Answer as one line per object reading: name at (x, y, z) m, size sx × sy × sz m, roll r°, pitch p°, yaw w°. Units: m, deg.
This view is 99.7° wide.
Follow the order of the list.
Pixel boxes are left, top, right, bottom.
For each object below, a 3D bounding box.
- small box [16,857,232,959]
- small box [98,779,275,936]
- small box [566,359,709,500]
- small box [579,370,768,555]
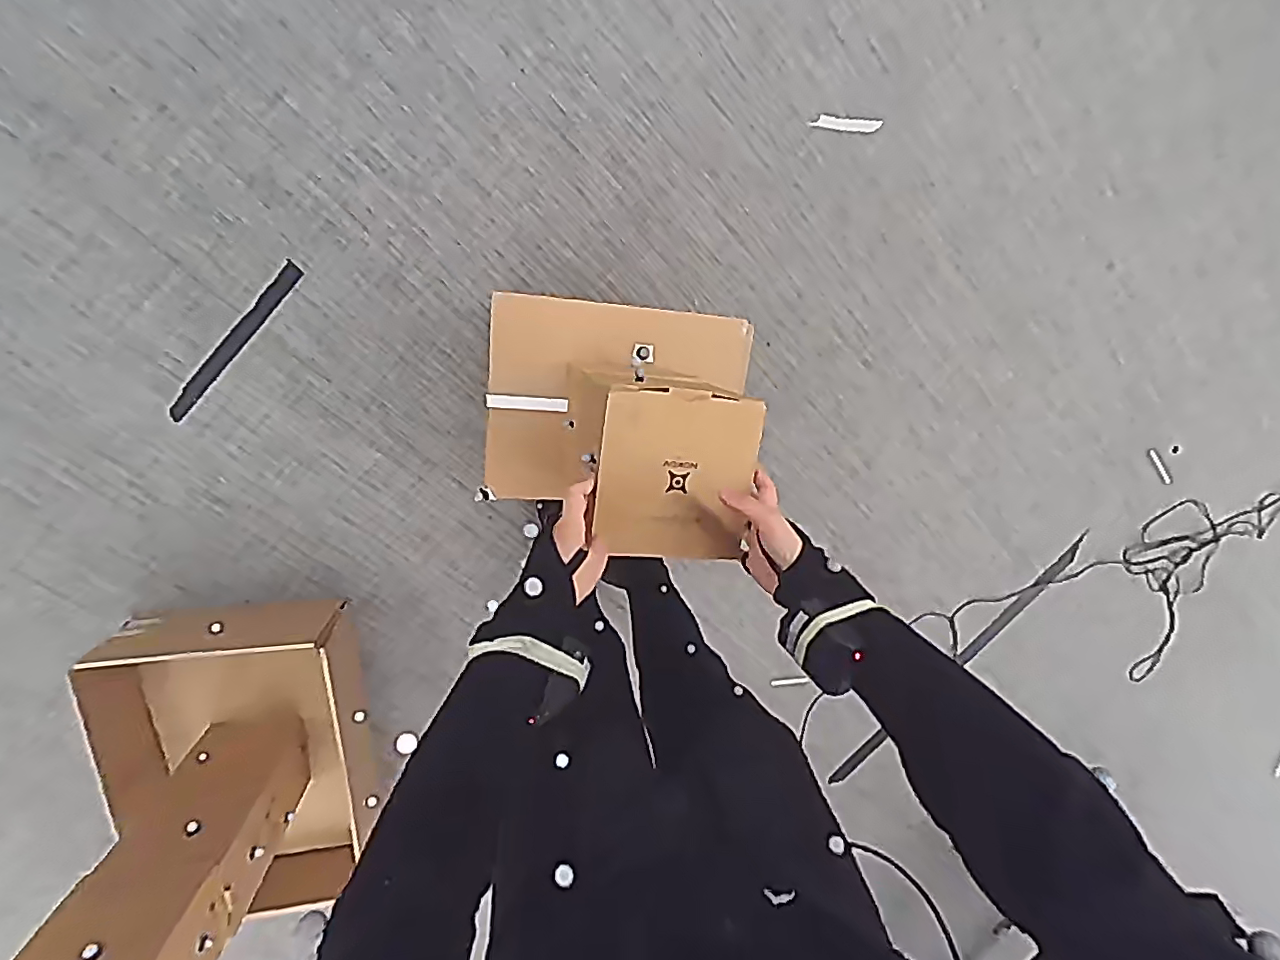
small box at (-0.725, 0.678, 0.765) m, size 0.179 × 0.176 × 0.168 m, roll 1°, pitch 105°, yaw -12°
small box at (-0.751, 0.641, 0.922) m, size 0.179 × 0.176 × 0.168 m, roll 2°, pitch 104°, yaw -13°
small box at (-0.014, -0.074, 0.776) m, size 0.168 × 0.176 × 0.179 m, roll 2°, pitch 104°, yaw -14°
small box at (0.024, -0.028, 0.624) m, size 0.168 × 0.176 × 0.179 m, roll 4°, pitch 105°, yaw -13°
